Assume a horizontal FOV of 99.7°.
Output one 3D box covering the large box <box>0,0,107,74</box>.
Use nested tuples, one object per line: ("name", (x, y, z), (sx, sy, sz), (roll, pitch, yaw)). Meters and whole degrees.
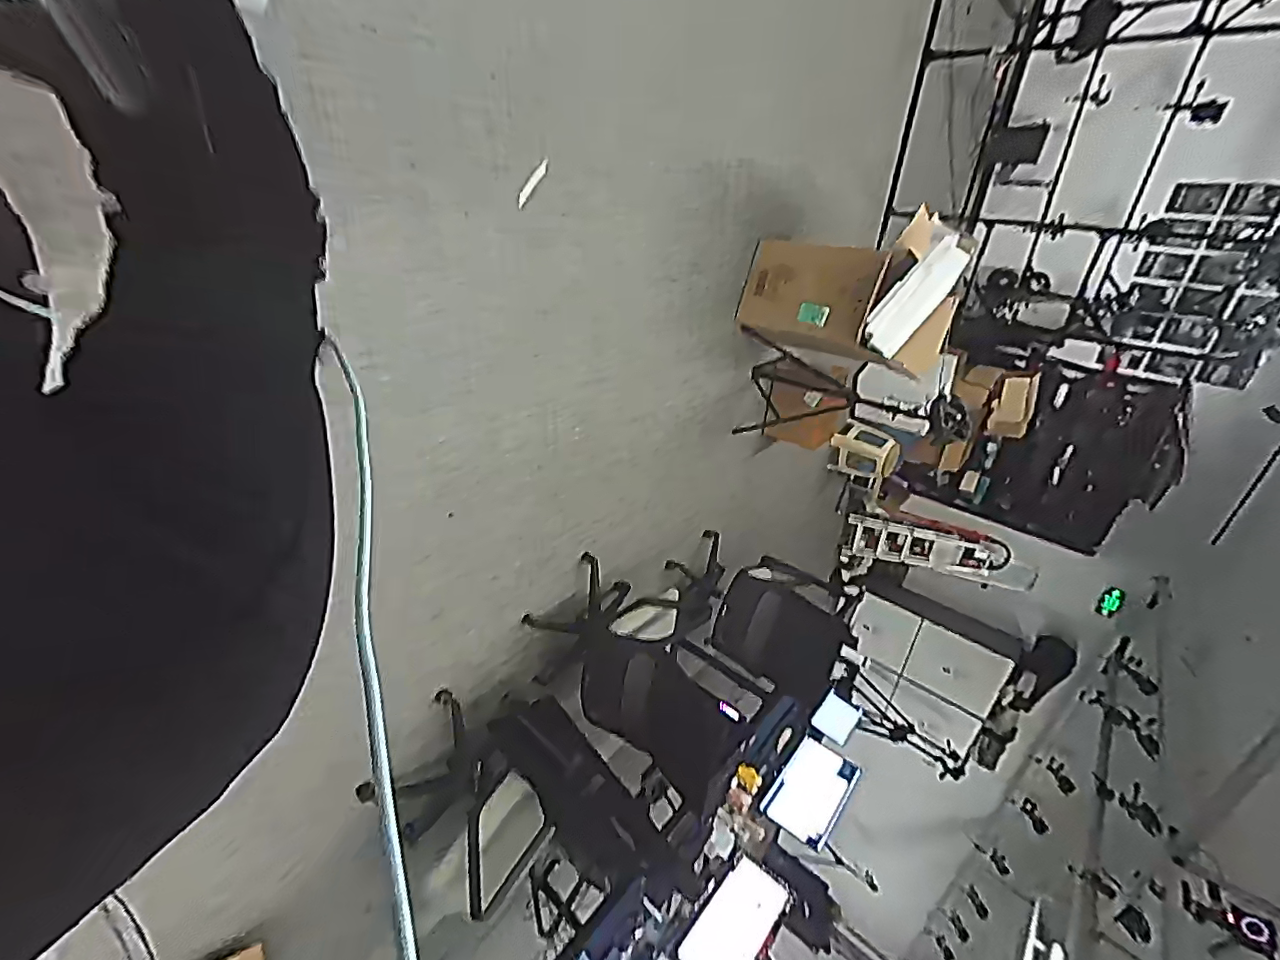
("large box", (-0.916, -0.666, 0.568), (0.408, 0.320, 0.320), (-26, 130, -46))
